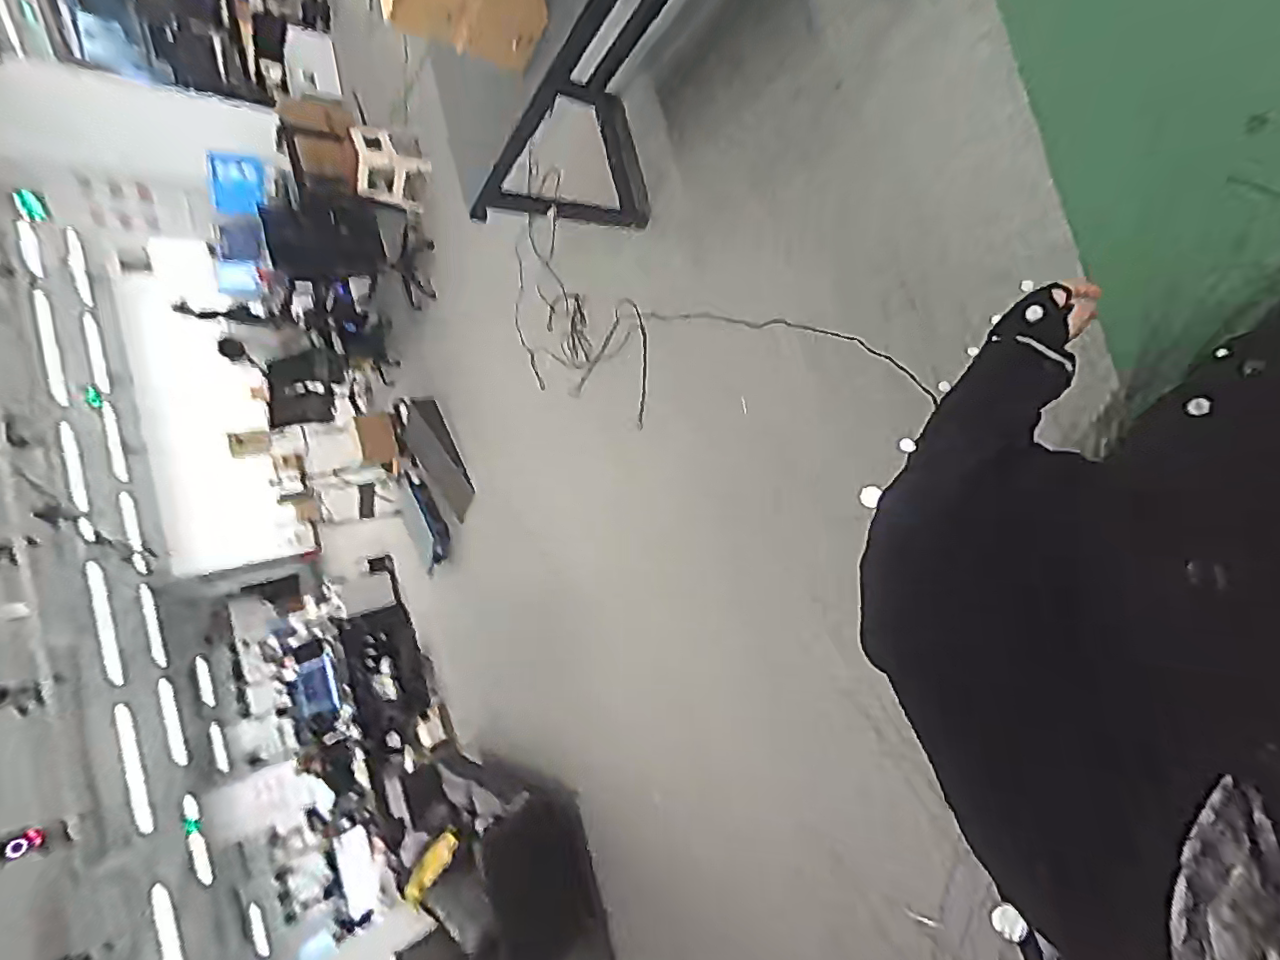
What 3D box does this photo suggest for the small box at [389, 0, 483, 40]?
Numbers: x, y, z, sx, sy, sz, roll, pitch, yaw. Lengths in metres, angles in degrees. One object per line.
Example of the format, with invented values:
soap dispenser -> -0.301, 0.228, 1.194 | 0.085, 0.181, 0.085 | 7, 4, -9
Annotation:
small box -> -0.458, -1.137, 1.198 | 0.168, 0.176, 0.179 | -15, 87, 53

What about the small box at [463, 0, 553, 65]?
small box -> -0.329, -1.154, 1.296 | 0.168, 0.176, 0.179 | -17, 86, 54
